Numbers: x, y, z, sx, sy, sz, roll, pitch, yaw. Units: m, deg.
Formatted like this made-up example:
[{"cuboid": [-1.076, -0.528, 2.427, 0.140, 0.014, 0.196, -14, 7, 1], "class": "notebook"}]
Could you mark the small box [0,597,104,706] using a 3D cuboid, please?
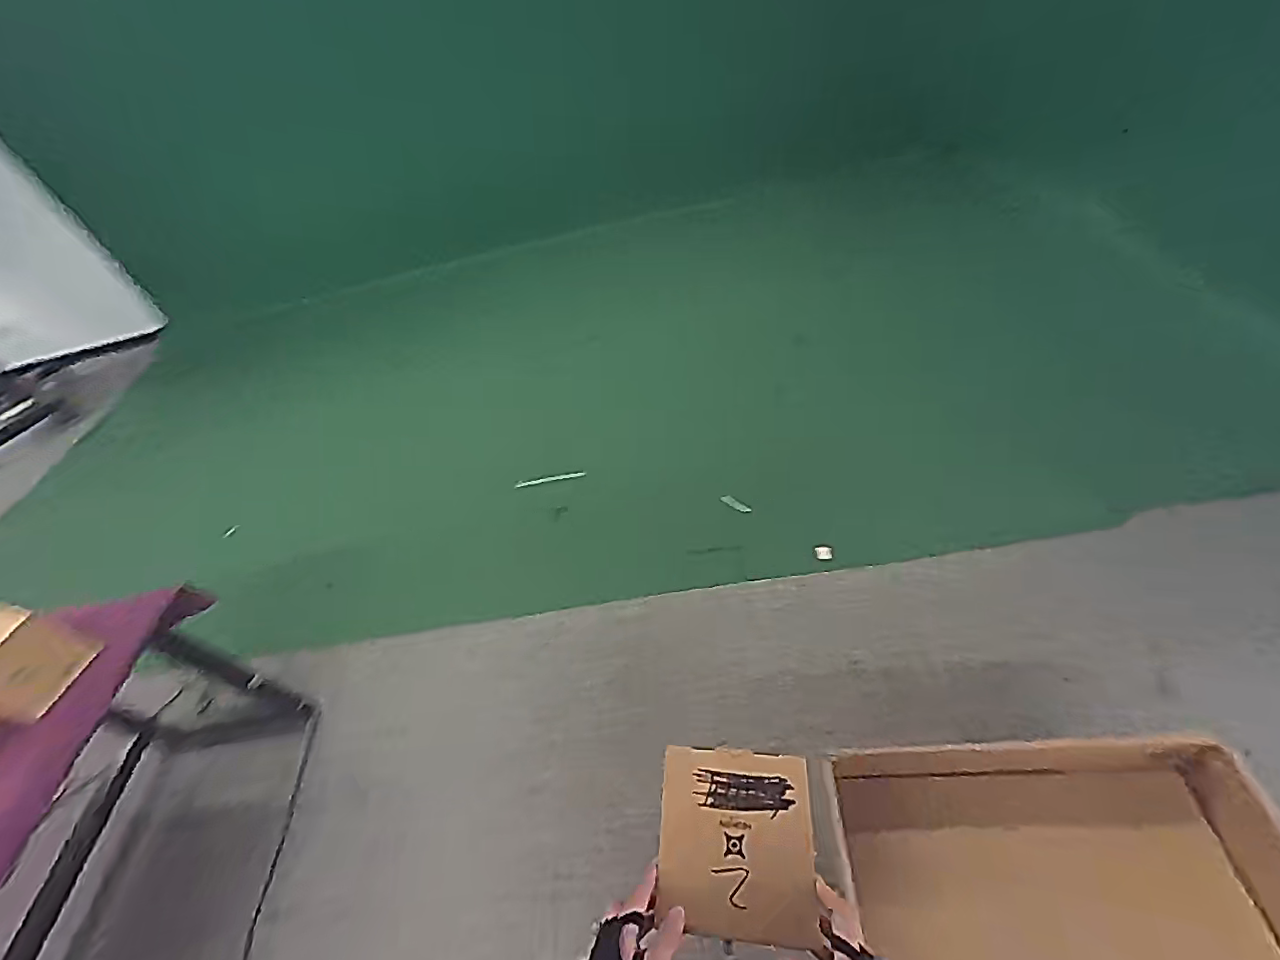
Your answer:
[{"cuboid": [-1.339, 0.372, 1.167, 0.179, 0.176, 0.168, 3, 52, 22], "class": "small box"}]
